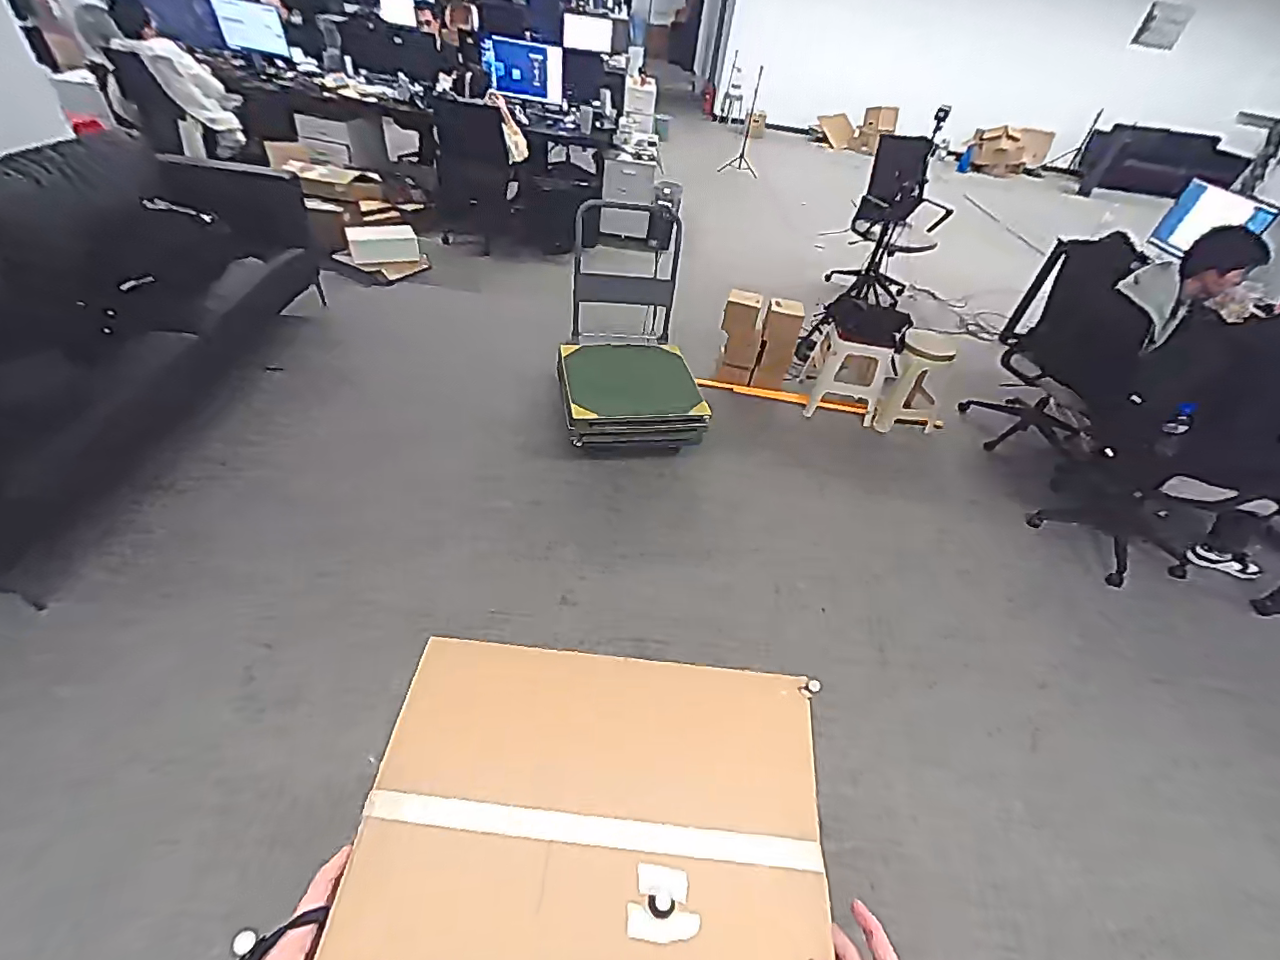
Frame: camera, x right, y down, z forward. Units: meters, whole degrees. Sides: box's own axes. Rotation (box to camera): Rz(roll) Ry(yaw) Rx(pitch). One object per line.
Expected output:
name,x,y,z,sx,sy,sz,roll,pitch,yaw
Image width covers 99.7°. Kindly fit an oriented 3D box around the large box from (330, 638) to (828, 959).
large box,-0.043,0.400,0.606,0.408,0.320,0.320,5,52,2
